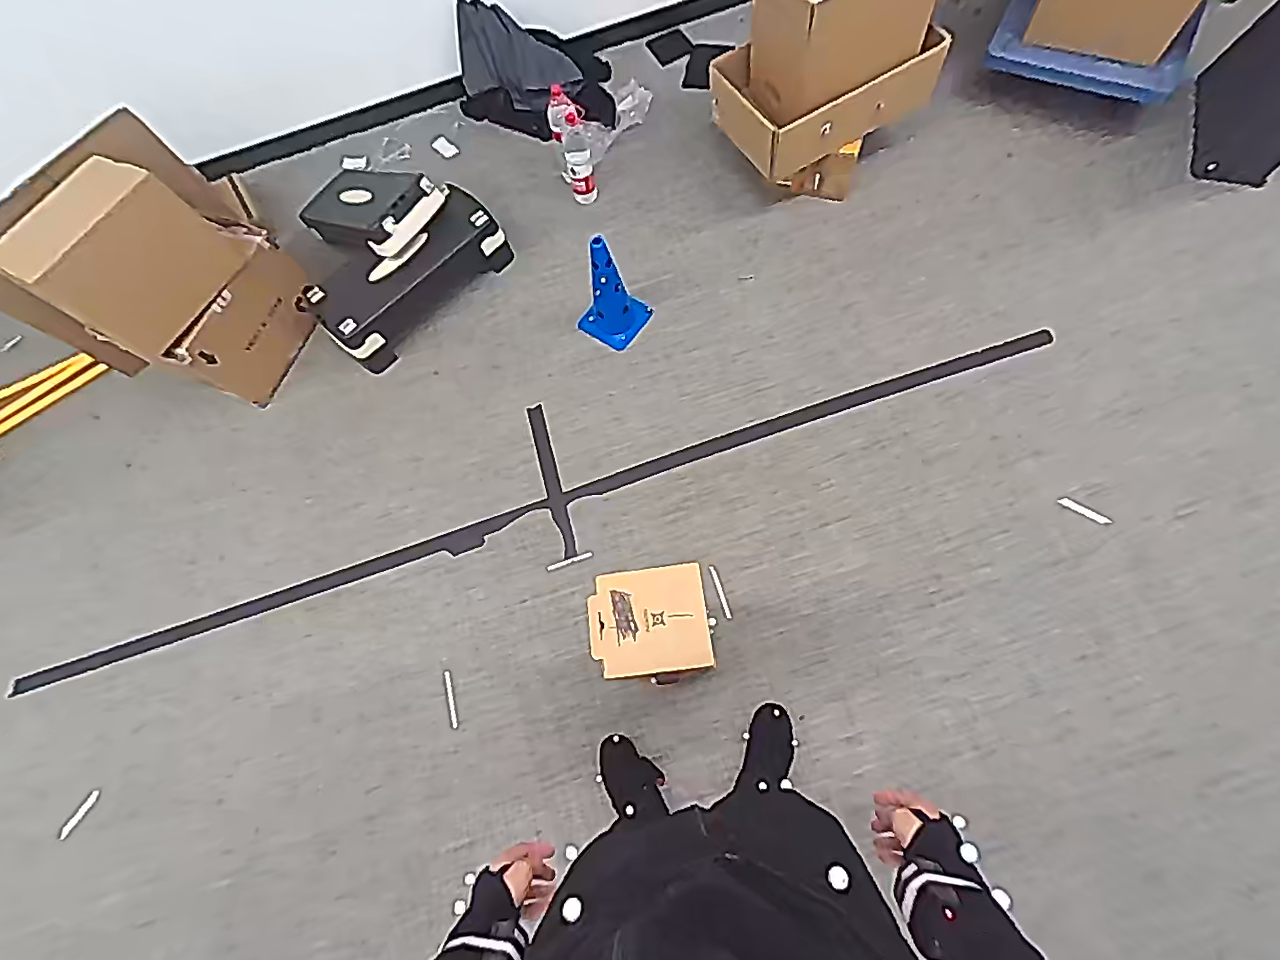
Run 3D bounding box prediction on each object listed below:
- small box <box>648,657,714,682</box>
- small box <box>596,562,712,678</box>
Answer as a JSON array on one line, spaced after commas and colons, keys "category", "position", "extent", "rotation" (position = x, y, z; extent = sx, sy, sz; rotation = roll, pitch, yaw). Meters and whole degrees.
[{"category": "small box", "position": [0.092, 0.415, 1.402], "extent": [0.168, 0.176, 0.179], "rotation": [-14, 69, 1]}, {"category": "small box", "position": [0.028, 0.250, 0.941], "extent": [0.179, 0.176, 0.168], "rotation": [-8, 70, 3]}]
